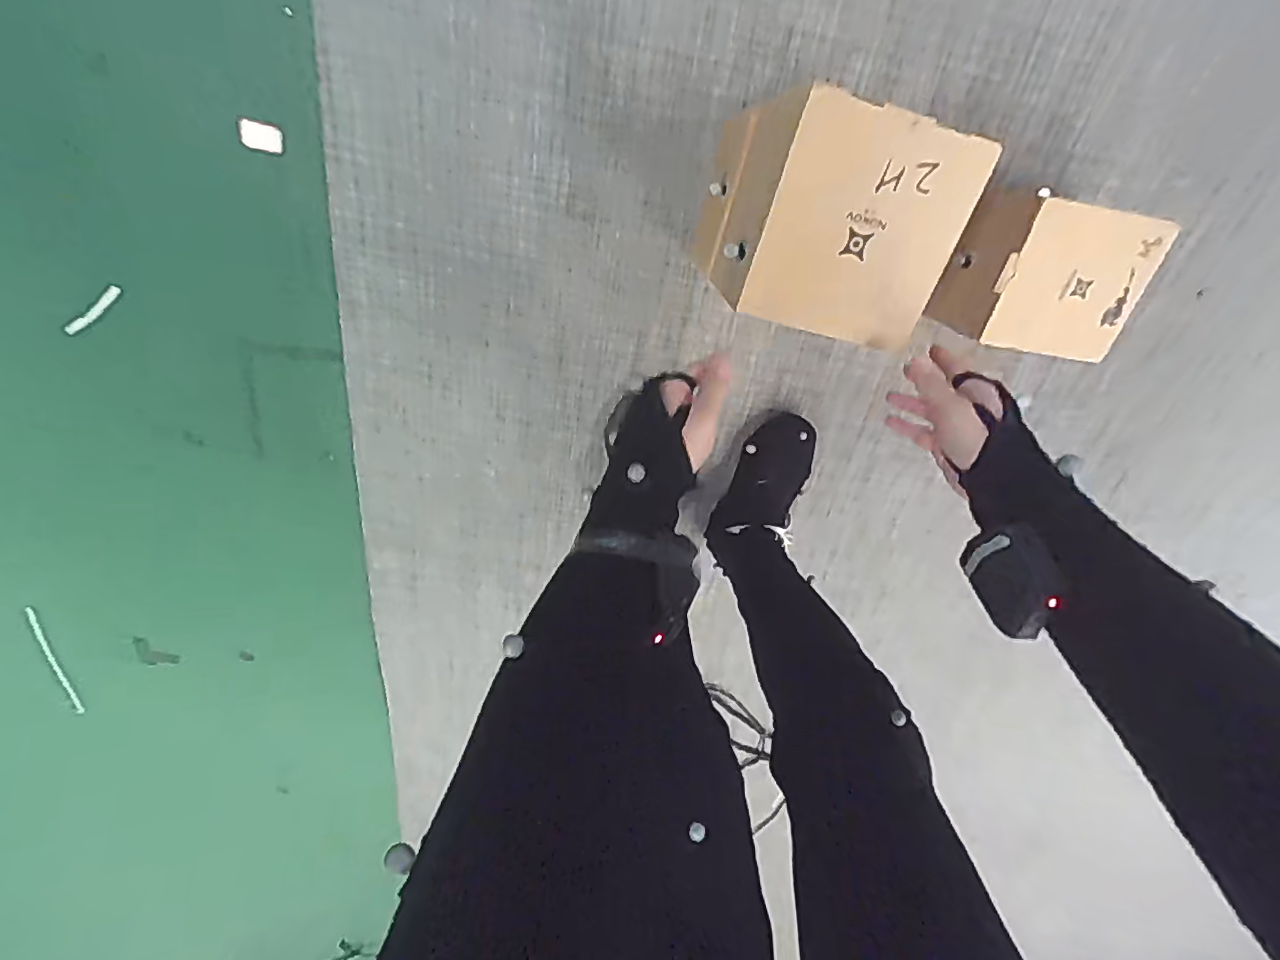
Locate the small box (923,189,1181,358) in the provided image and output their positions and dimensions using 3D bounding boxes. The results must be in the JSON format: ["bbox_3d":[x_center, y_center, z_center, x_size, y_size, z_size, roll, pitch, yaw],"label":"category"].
[{"bbox_3d":[0.511,-0.274,0.708,0.179,0.176,0.168,8,120,-5],"label":"small box"}]

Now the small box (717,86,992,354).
[{"bbox_3d":[0.181,-0.247,0.528,0.168,0.176,0.179,12,118,-8],"label":"small box"}]

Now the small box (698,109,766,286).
[{"bbox_3d":[0.174,-0.330,0.671,0.168,0.176,0.179,10,118,-7],"label":"small box"}]
